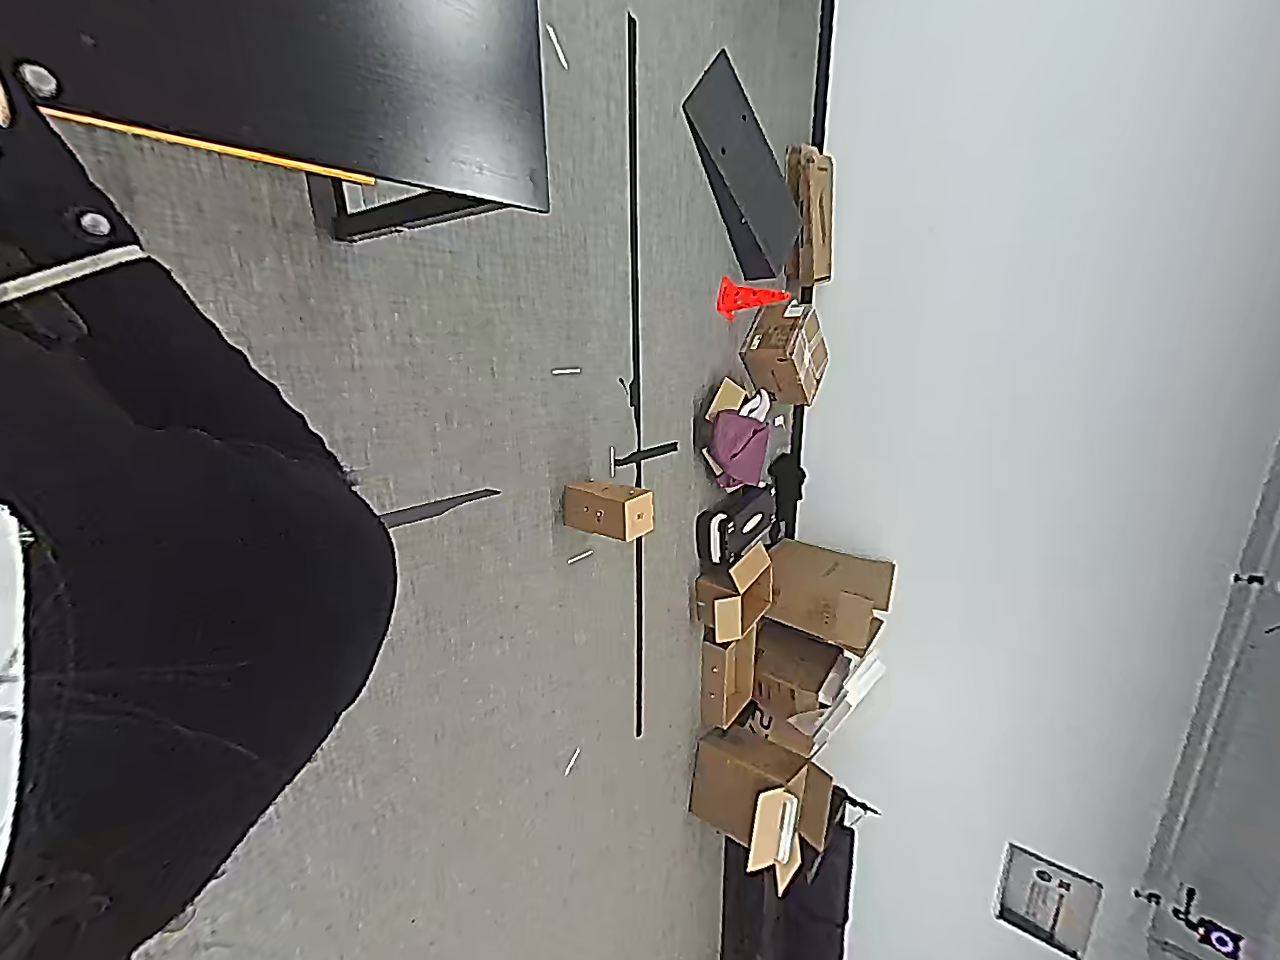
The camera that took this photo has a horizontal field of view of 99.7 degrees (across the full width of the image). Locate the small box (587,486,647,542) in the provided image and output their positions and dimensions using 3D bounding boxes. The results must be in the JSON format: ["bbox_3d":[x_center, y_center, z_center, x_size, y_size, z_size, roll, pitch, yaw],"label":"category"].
[{"bbox_3d":[-0.089,0.129,2.146,0.179,0.176,0.168,-21,114,-48],"label":"small box"}]

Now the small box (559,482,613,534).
[{"bbox_3d":[-0.220,0.108,2.241,0.168,0.176,0.179,-15,112,-51],"label":"small box"}]
